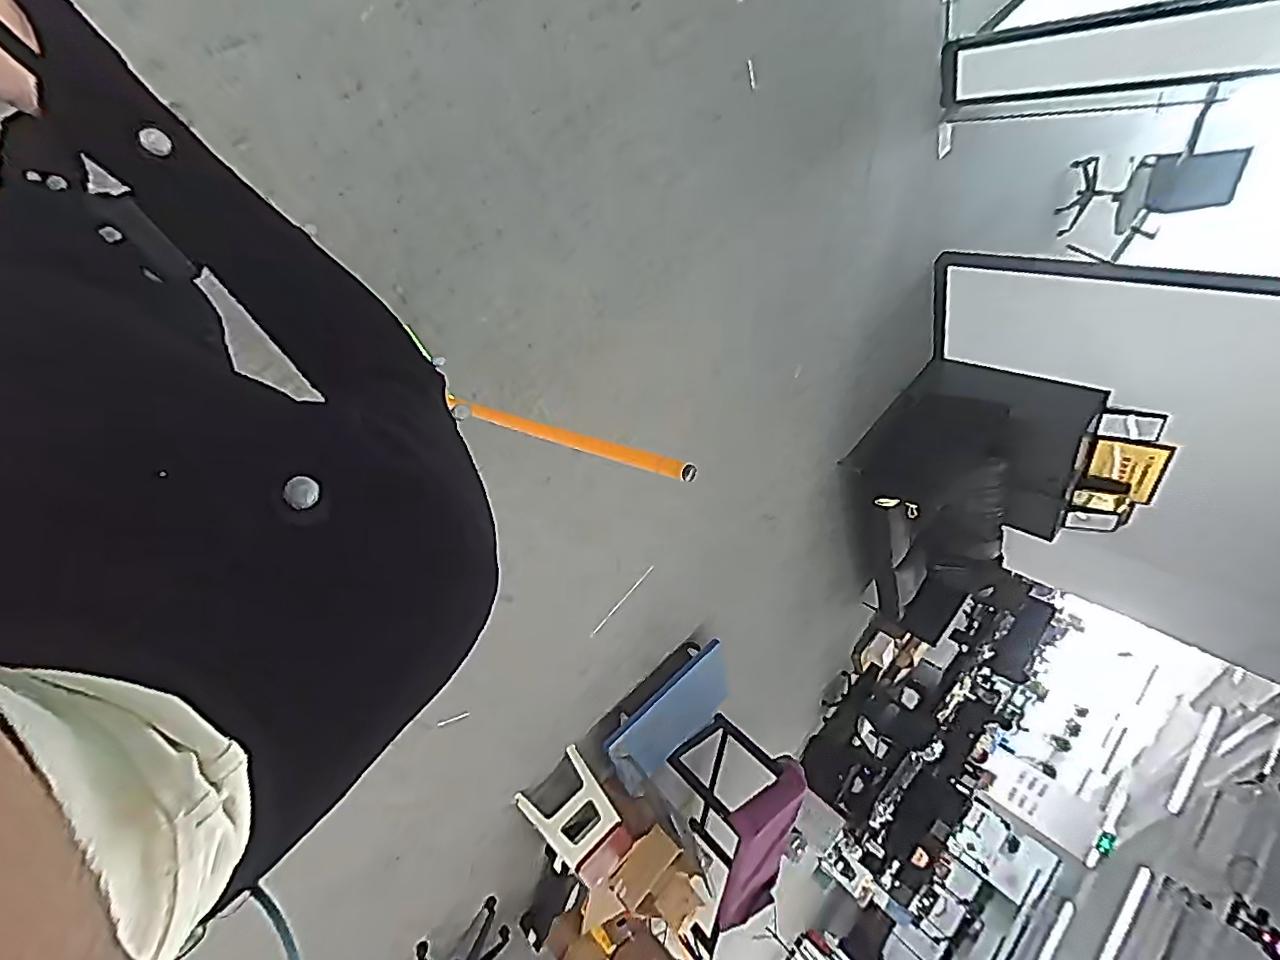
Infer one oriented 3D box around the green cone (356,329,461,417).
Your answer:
[{"bbox_3d":[-0.568,-0.243,1.441,0.202,0.368,0.200,-44,135,-17],"label":"green cone"}]
